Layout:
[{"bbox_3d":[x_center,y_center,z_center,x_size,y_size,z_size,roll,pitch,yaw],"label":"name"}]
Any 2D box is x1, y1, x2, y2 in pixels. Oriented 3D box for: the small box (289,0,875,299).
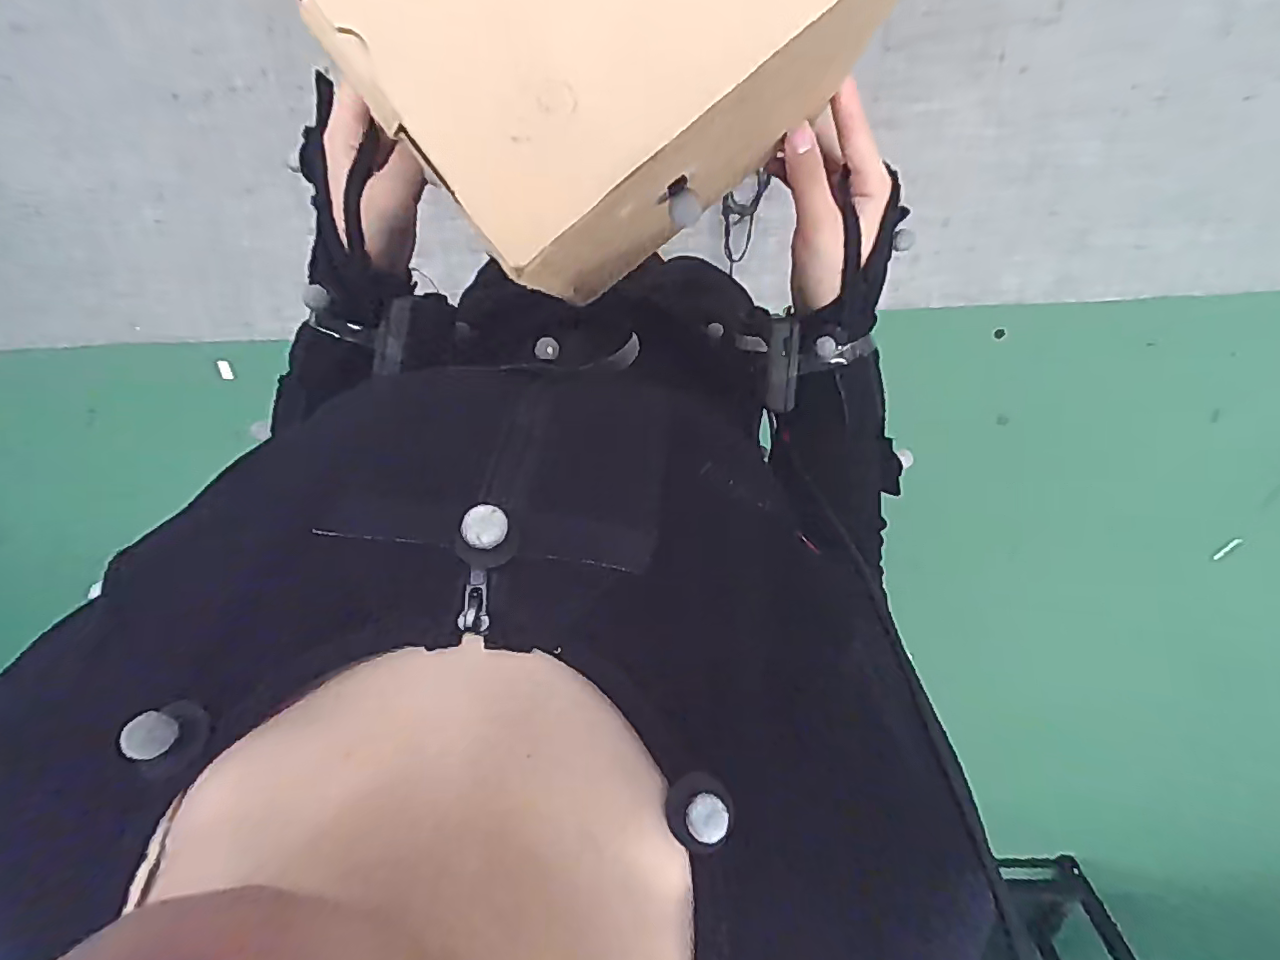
[{"bbox_3d":[-0.020,-0.200,0.237,0.179,0.176,0.168,-35,99,11],"label":"small box"}]
